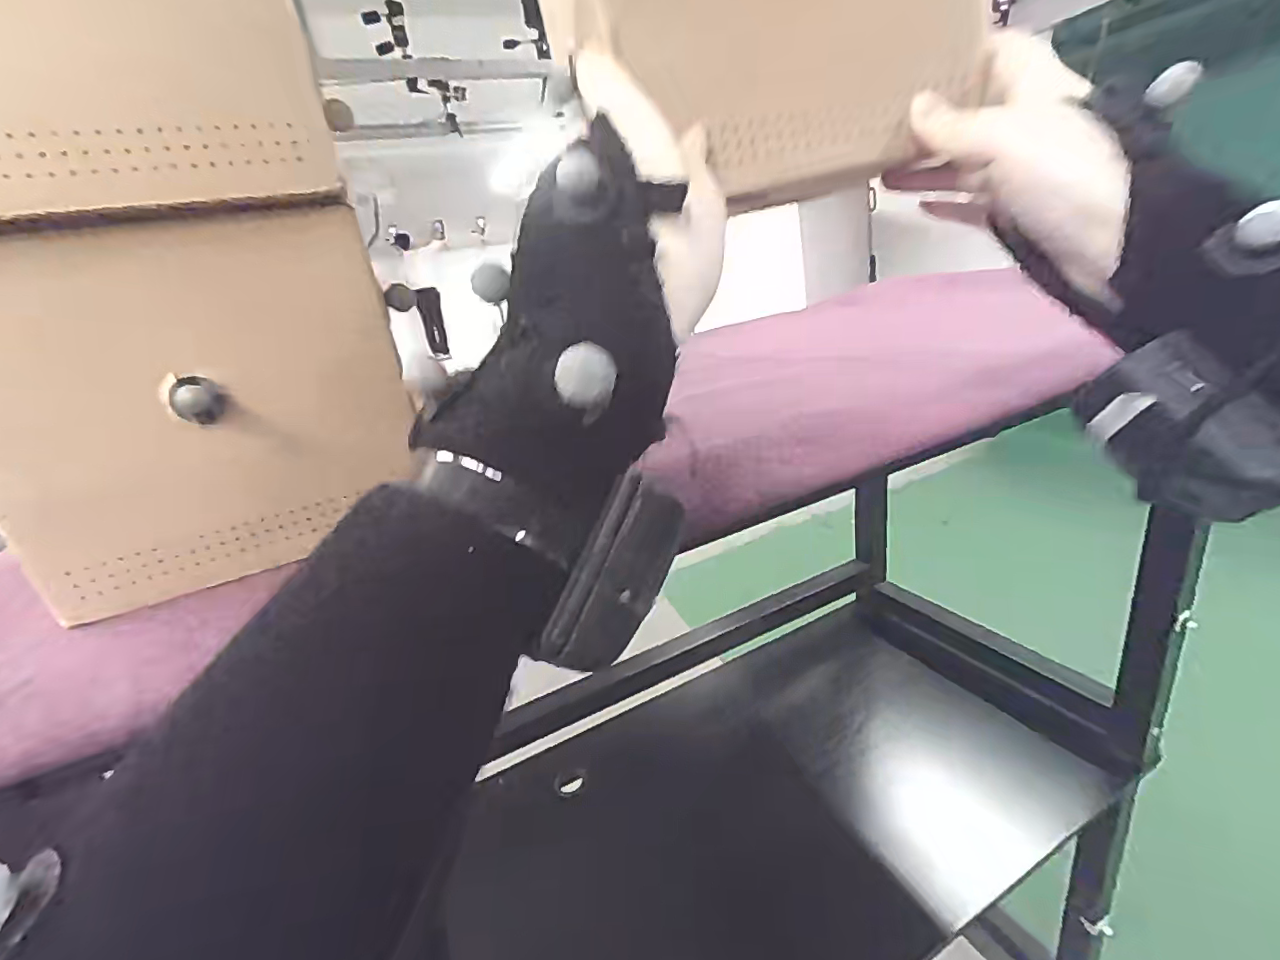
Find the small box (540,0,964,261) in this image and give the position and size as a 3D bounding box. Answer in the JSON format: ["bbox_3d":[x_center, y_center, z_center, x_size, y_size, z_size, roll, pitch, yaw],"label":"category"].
[{"bbox_3d":[0.052,-0.227,0.302,0.179,0.176,0.168,-15,20,-6],"label":"small box"}]

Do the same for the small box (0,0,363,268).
[{"bbox_3d":[-0.252,-0.199,0.254,0.179,0.176,0.168,-16,22,-22],"label":"small box"}]
